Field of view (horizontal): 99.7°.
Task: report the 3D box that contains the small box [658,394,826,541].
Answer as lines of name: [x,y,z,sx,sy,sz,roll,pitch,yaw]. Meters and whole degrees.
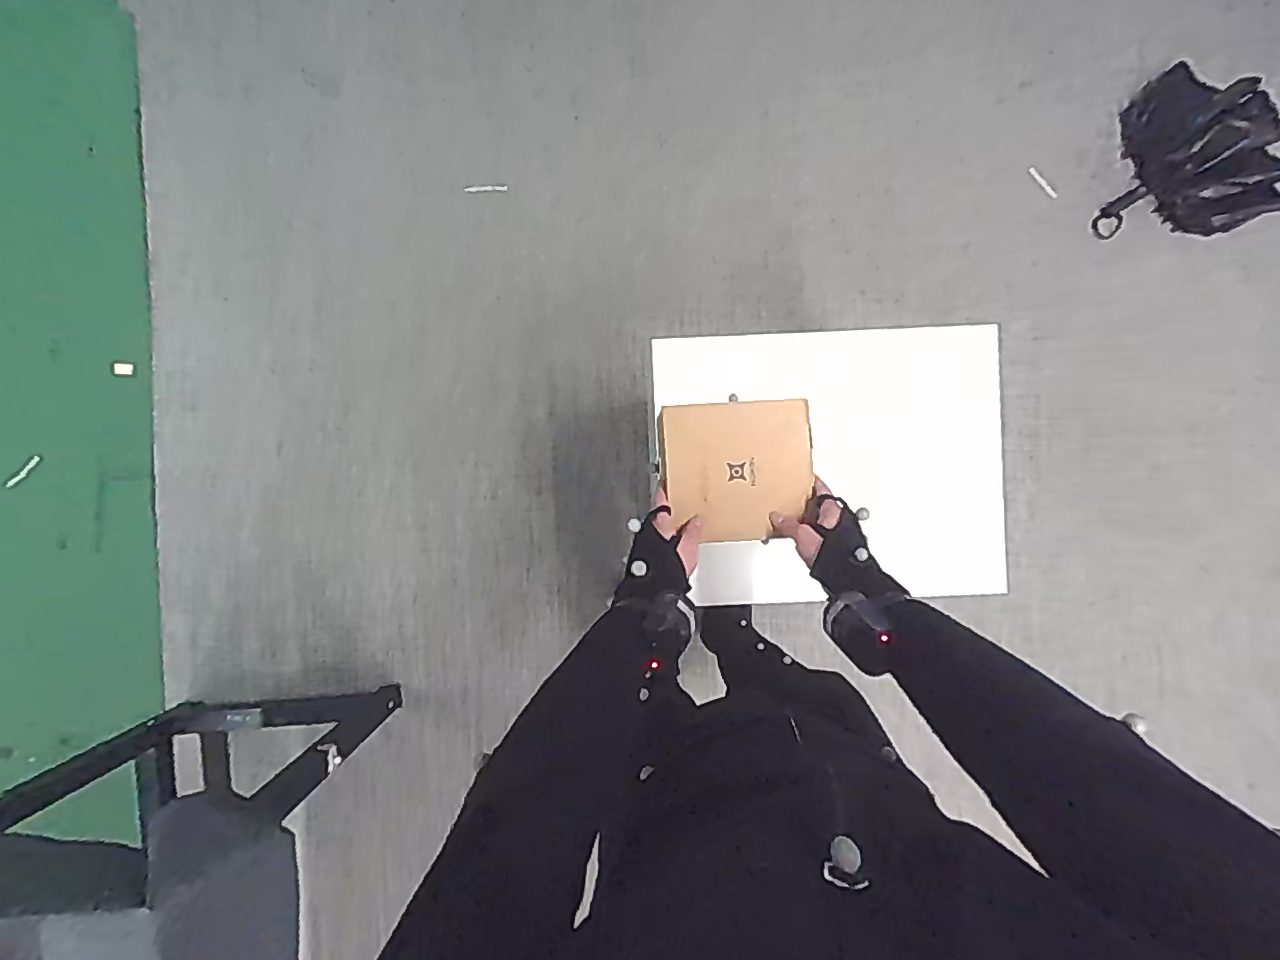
small box: [0.120,-0.015,0.699,0.179,0.176,0.168,-3,89,-2]
